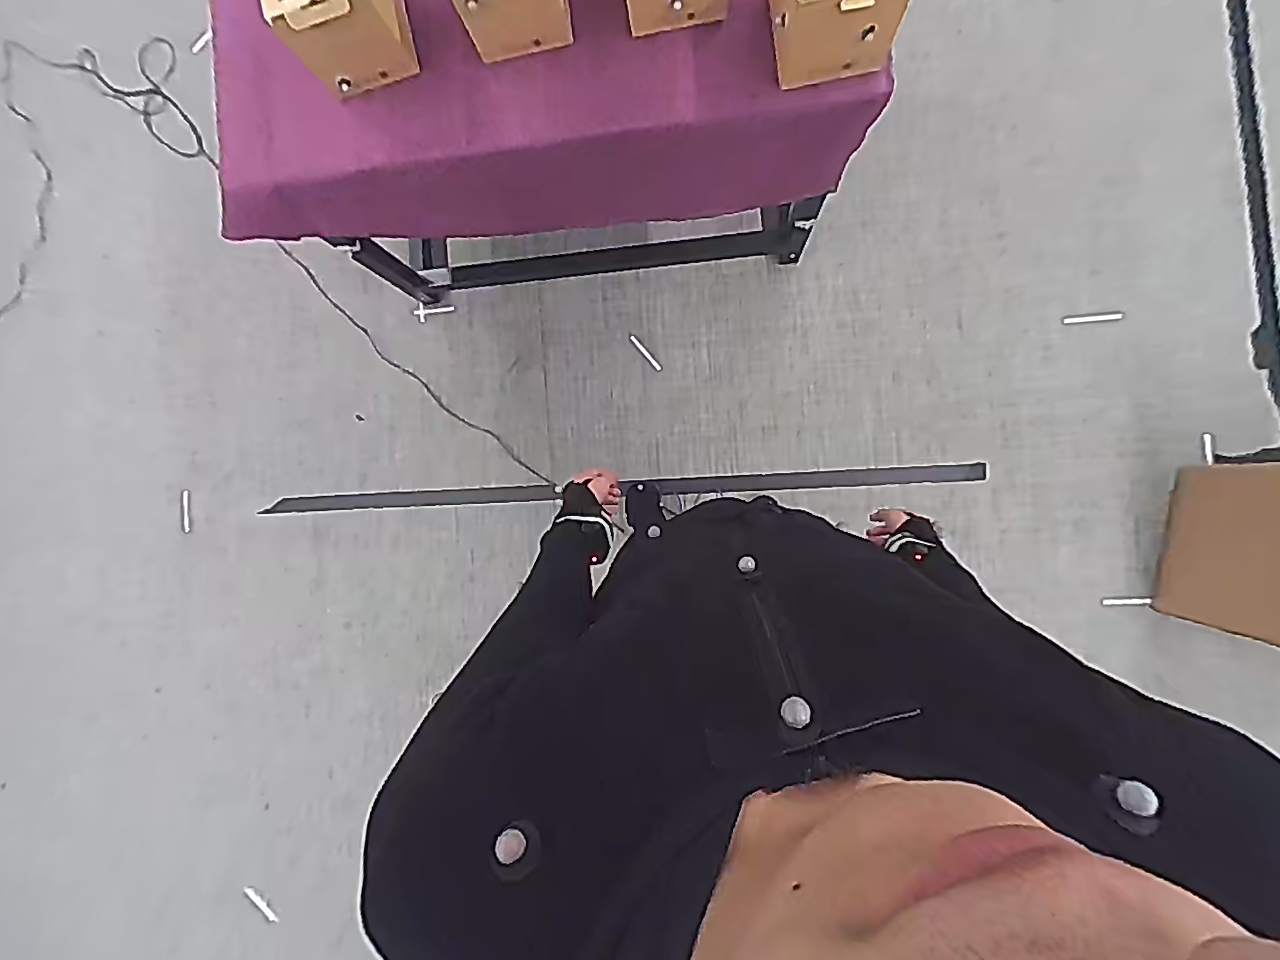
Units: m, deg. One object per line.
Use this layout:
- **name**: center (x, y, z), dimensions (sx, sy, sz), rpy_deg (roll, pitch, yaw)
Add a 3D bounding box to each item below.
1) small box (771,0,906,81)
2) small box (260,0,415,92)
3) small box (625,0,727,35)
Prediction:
- **small box**: center (0.296, -0.742, 0.812), dimensions (0.168, 0.176, 0.179), rpy_deg (-7, 88, 6)
- **small box**: center (-0.502, -0.791, 0.900), dimensions (0.168, 0.176, 0.179), rpy_deg (-14, 87, 5)
- **small box**: center (0.049, -0.854, 0.841), dimensions (0.168, 0.176, 0.179), rpy_deg (-6, 89, 7)
